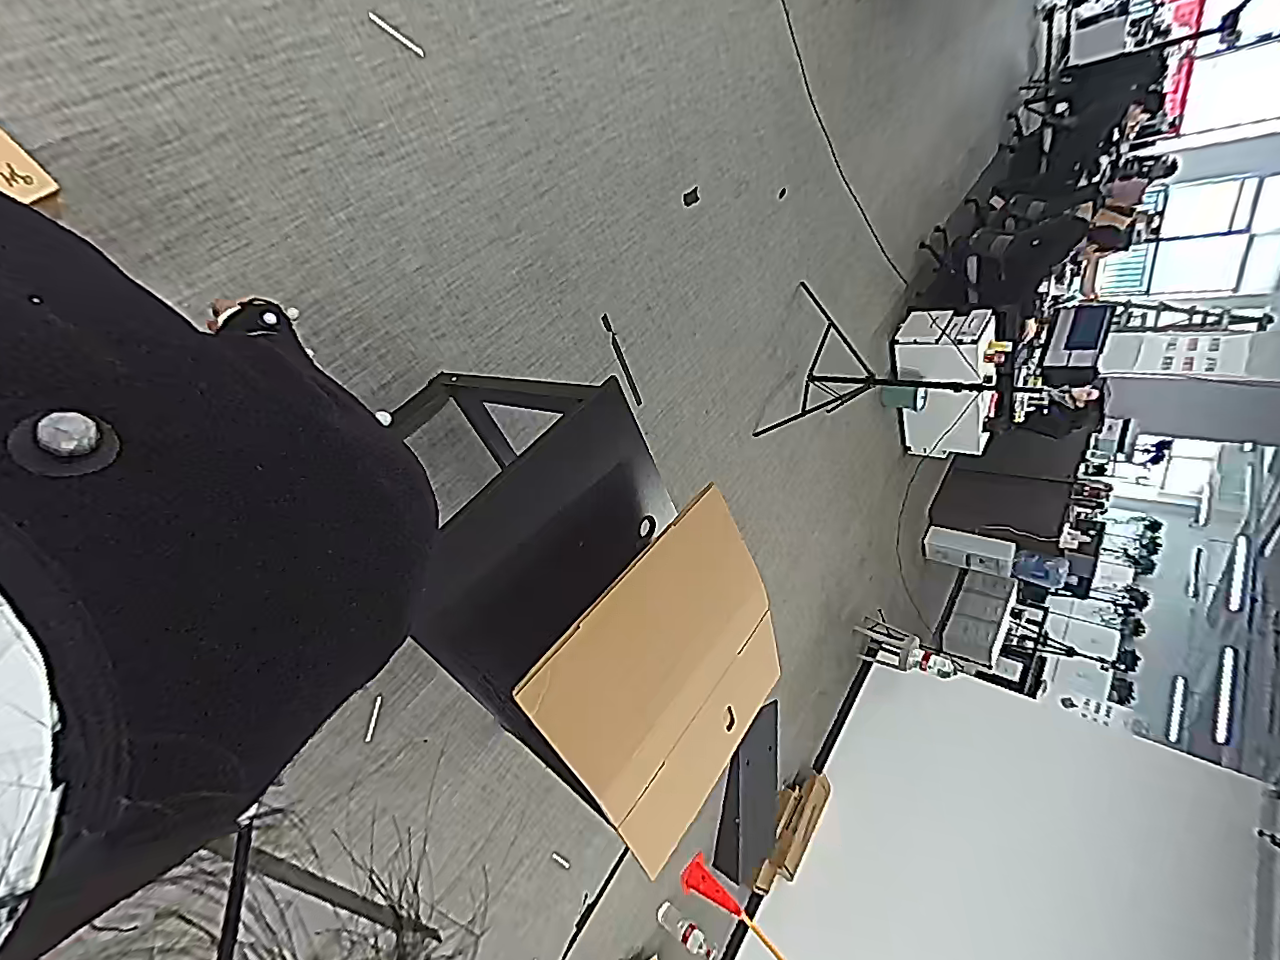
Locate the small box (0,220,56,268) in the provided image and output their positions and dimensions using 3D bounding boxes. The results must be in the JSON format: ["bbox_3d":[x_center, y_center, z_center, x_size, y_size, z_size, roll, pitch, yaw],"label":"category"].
[{"bbox_3d":[-1.107,-0.428,0.863,0.179,0.176,0.168,-51,132,-25],"label":"small box"}]

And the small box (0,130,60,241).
[{"bbox_3d":[-0.868,-0.380,0.647,0.168,0.176,0.179,-52,133,-25],"label":"small box"}]

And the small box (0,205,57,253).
[{"bbox_3d":[-0.986,-0.407,0.757,0.179,0.176,0.168,-55,135,-24],"label":"small box"}]
